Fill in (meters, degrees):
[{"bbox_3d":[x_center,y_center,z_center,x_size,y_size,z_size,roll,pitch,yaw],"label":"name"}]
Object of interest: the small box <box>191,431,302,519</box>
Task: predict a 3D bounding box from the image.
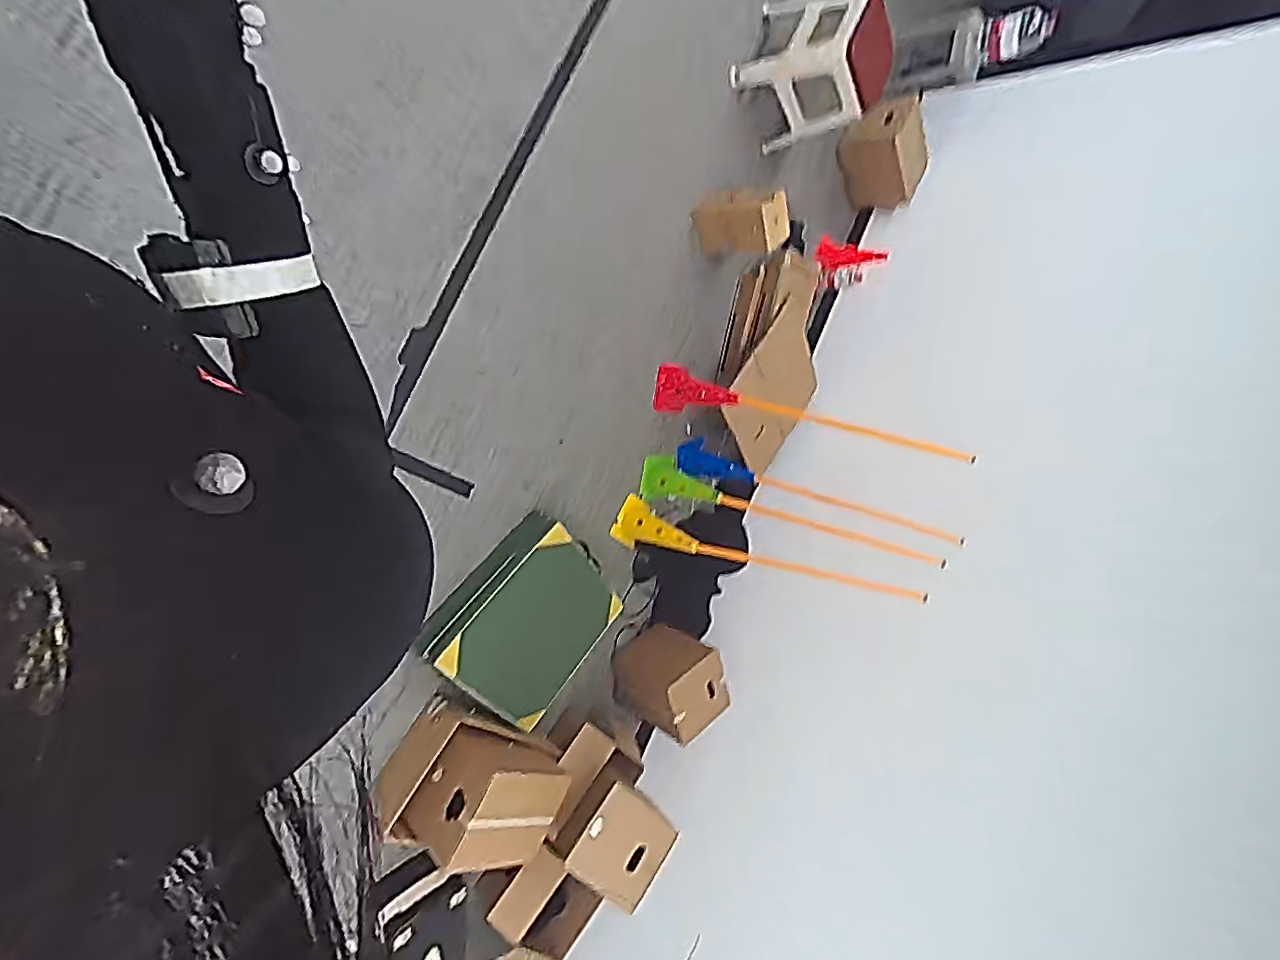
[{"bbox_3d":[-0.886,0.010,1.238,0.168,0.176,0.179,38,76,-49],"label":"small box"}]
